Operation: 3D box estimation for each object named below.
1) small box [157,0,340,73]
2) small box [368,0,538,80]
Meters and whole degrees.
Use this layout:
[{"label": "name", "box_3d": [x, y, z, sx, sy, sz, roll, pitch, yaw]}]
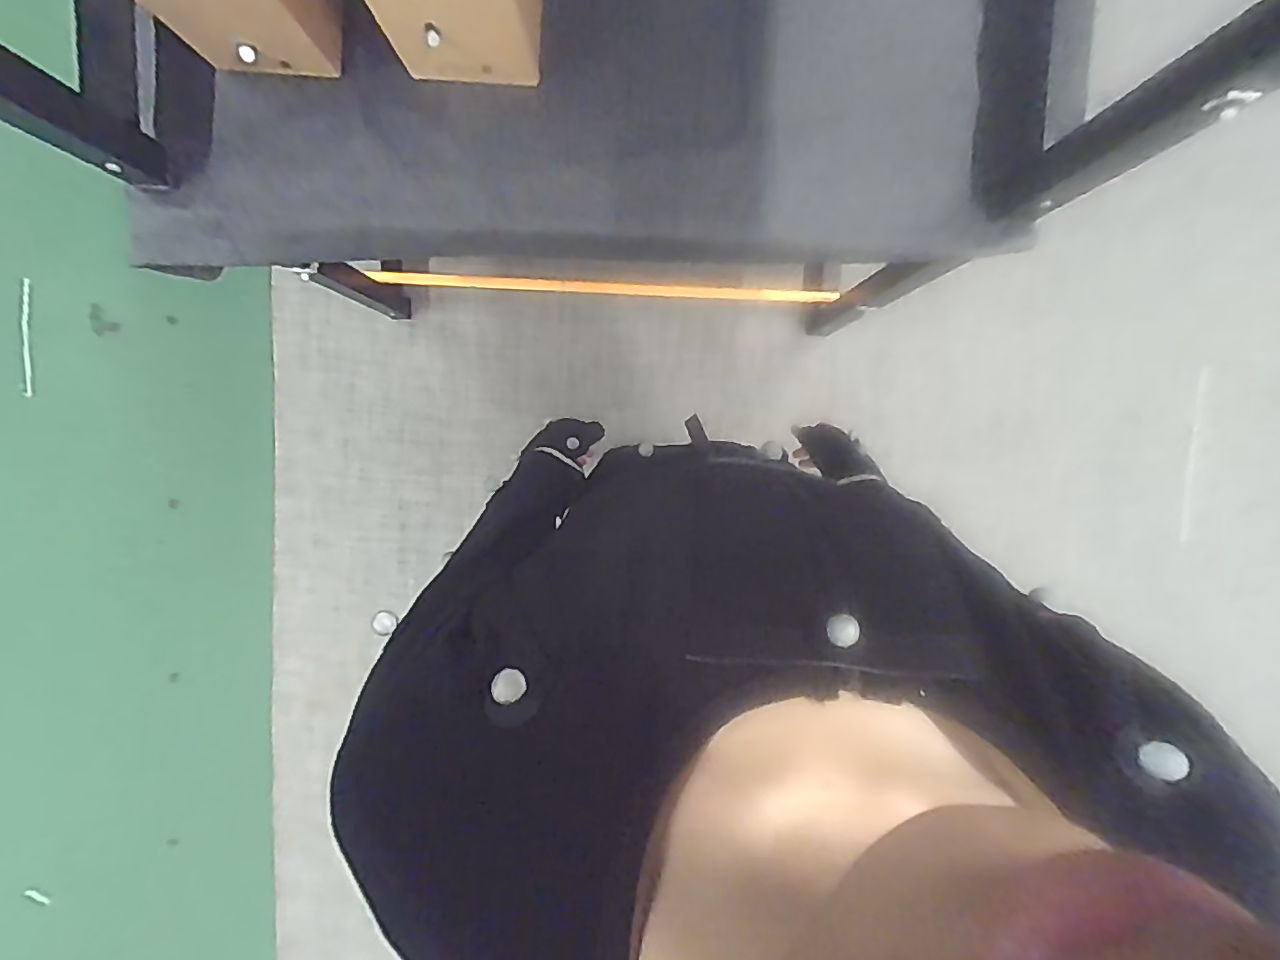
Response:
[{"label": "small box", "box_3d": [-0.465, -0.615, 0.615, 0.168, 0.176, 0.179, 4, 95, -1]}, {"label": "small box", "box_3d": [-0.212, -0.603, 0.621, 0.168, 0.176, 0.179, 3, 95, -1]}]
